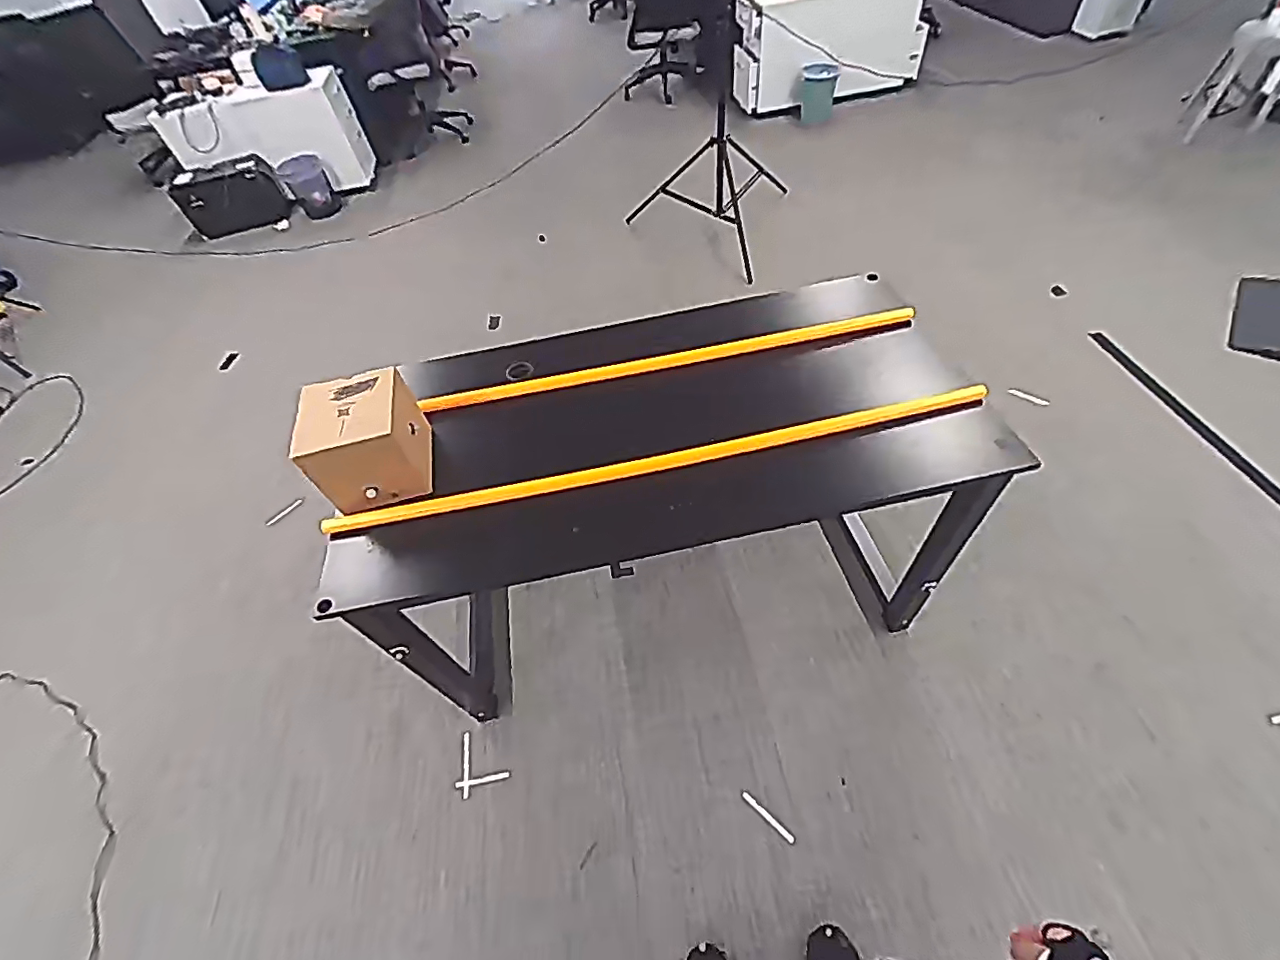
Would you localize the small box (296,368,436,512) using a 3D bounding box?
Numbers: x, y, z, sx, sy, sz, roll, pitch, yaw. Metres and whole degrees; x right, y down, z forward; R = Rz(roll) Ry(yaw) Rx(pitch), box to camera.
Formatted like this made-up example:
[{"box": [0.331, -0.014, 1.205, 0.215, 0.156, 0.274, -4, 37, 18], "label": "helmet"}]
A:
[{"box": [-0.484, -0.071, 0.984, 0.168, 0.176, 0.179, -15, 53, -4], "label": "small box"}]
